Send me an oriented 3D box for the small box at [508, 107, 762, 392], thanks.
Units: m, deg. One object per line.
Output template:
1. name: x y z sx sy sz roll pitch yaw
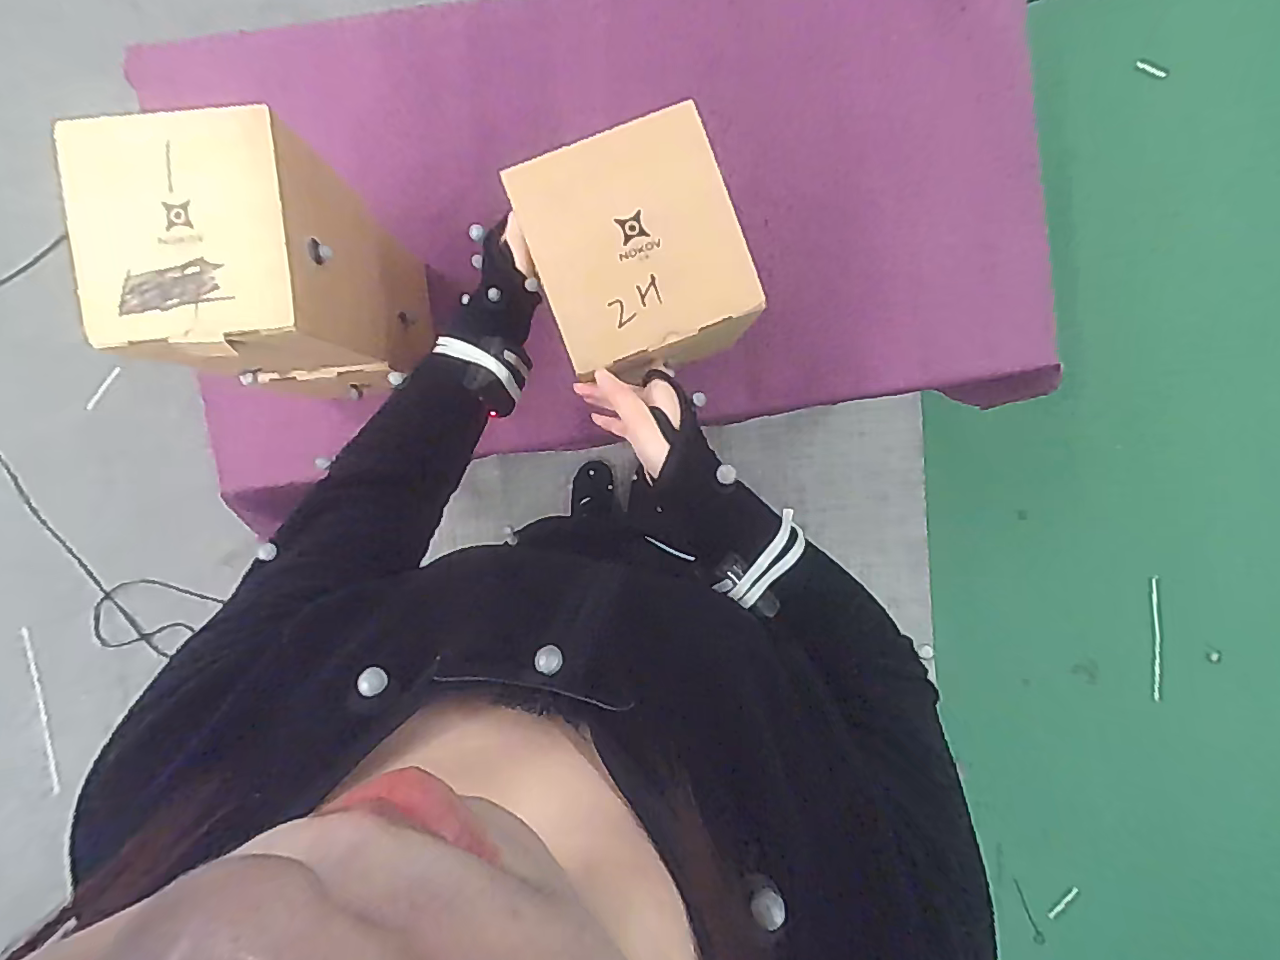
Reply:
1. small box: -0.006 -0.196 0.515 0.168 0.176 0.179 -19 95 0

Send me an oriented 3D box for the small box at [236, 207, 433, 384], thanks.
1. small box: -0.369 -0.212 0.665 0.168 0.176 0.179 -6 95 -3

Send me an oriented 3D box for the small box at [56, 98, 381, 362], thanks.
1. small box: -0.360 -0.208 0.500 0.168 0.176 0.179 -5 93 -2
